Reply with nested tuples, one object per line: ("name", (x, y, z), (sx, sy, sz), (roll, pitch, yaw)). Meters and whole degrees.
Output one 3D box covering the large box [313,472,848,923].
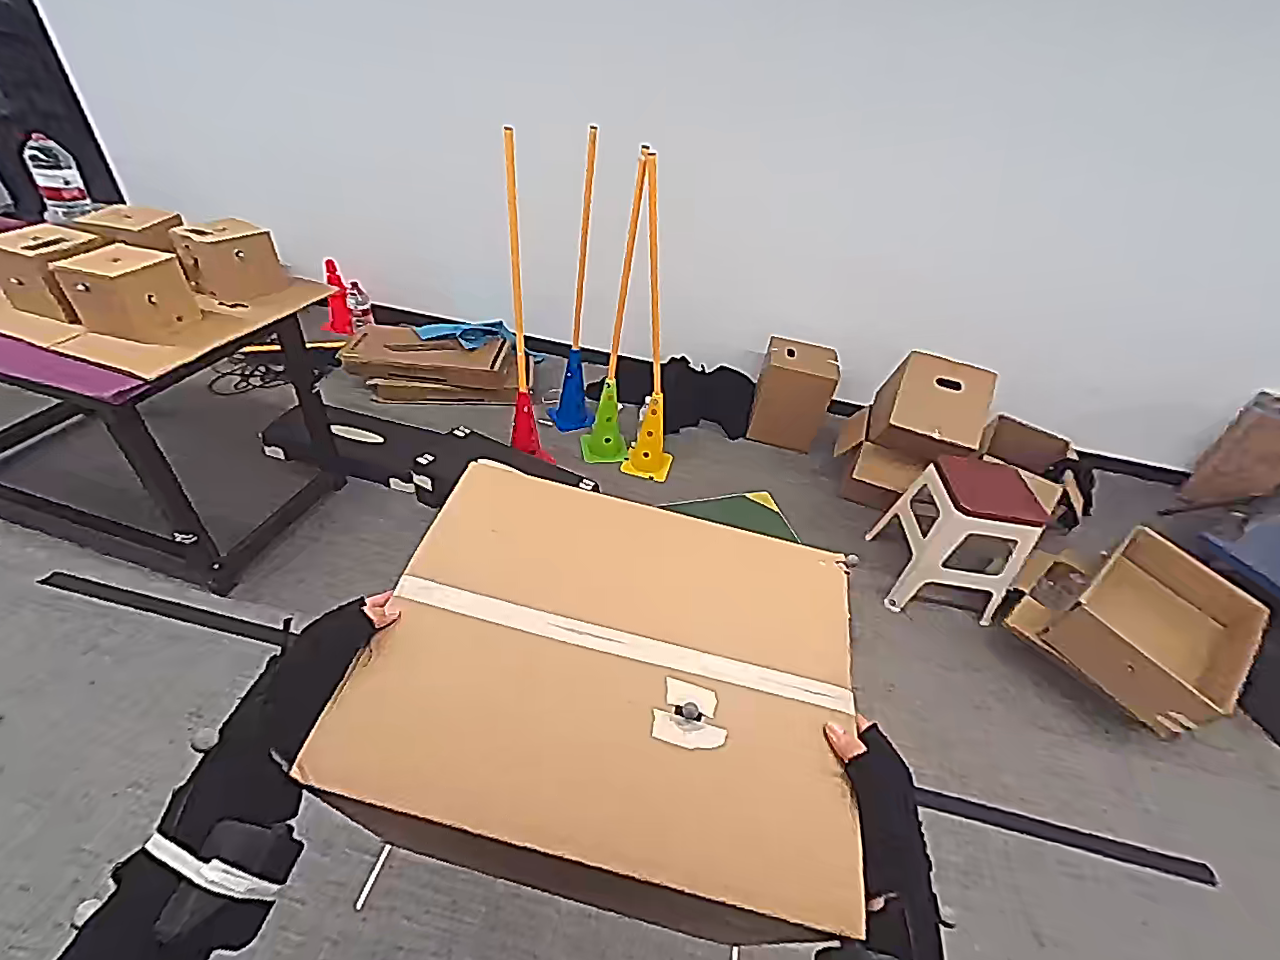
("large box", (-0.040, 0.241, 0.593), (0.408, 0.320, 0.320), (14, 49, 2))
